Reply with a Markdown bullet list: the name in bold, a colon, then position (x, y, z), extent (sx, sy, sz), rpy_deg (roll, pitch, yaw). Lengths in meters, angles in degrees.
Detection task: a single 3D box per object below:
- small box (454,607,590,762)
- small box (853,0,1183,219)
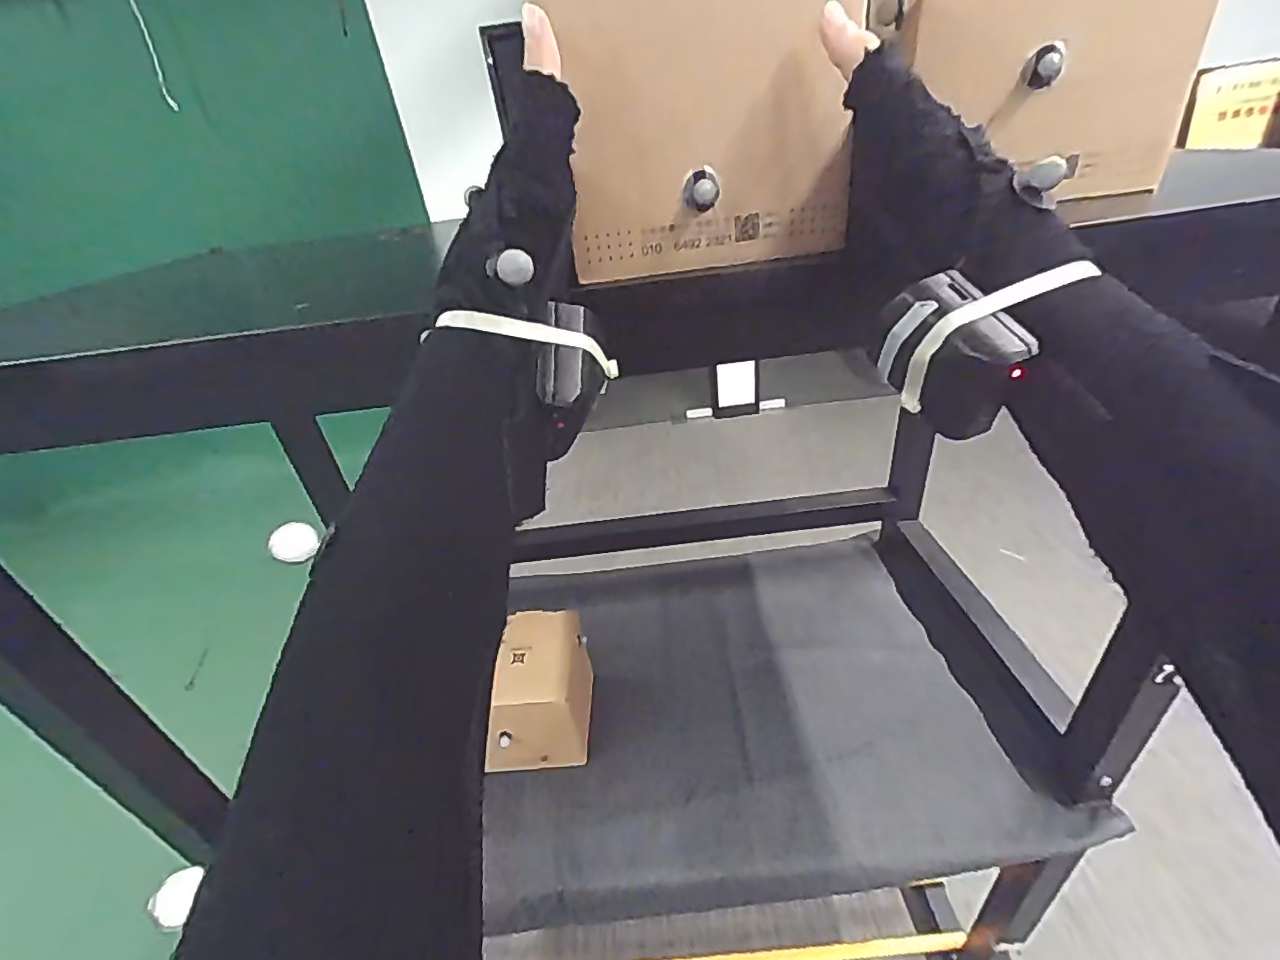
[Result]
- **small box**: position (-0.177, 0.335, 0.879), extent (0.168, 0.176, 0.179), rpy_deg (-6, 31, 3)
- **small box**: position (0.268, -0.307, 0.418), extent (0.168, 0.176, 0.179), rpy_deg (-1, 32, 11)
